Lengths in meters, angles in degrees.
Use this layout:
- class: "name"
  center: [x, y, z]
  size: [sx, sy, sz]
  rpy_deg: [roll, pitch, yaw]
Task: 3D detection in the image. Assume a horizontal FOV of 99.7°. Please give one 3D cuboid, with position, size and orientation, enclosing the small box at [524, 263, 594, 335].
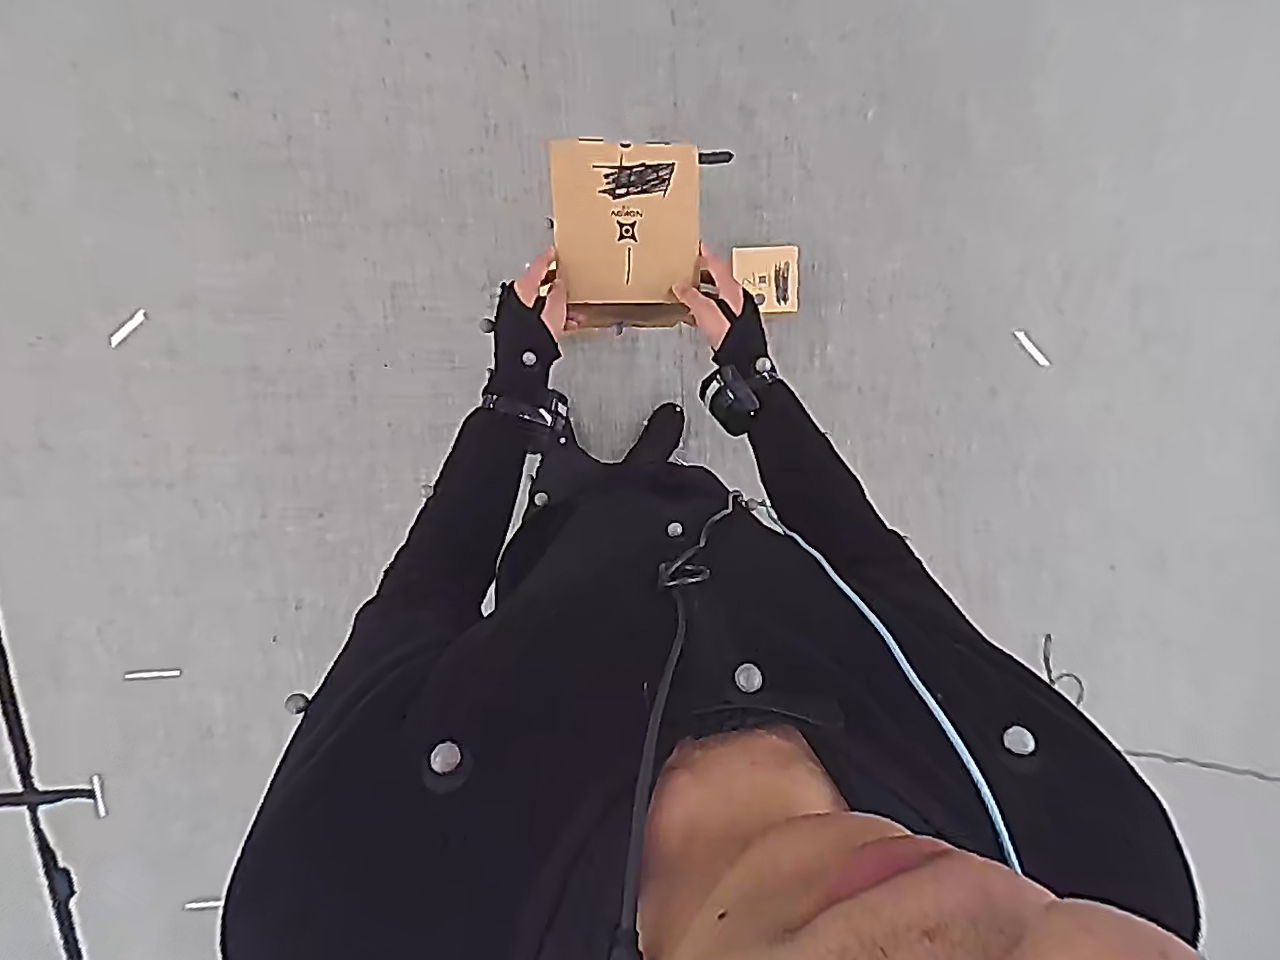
- class: "small box"
  center: [-0.212, -0.487, 1.469]
  size: [0.179, 0.176, 0.168]
  rpy_deg: [-4, 99, -2]

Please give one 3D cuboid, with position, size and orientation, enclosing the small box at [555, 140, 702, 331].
- class: "small box"
  center: [-0.022, -0.292, 0.681]
  size: [0.168, 0.176, 0.179]
  rpy_deg: [-2, 97, -7]
